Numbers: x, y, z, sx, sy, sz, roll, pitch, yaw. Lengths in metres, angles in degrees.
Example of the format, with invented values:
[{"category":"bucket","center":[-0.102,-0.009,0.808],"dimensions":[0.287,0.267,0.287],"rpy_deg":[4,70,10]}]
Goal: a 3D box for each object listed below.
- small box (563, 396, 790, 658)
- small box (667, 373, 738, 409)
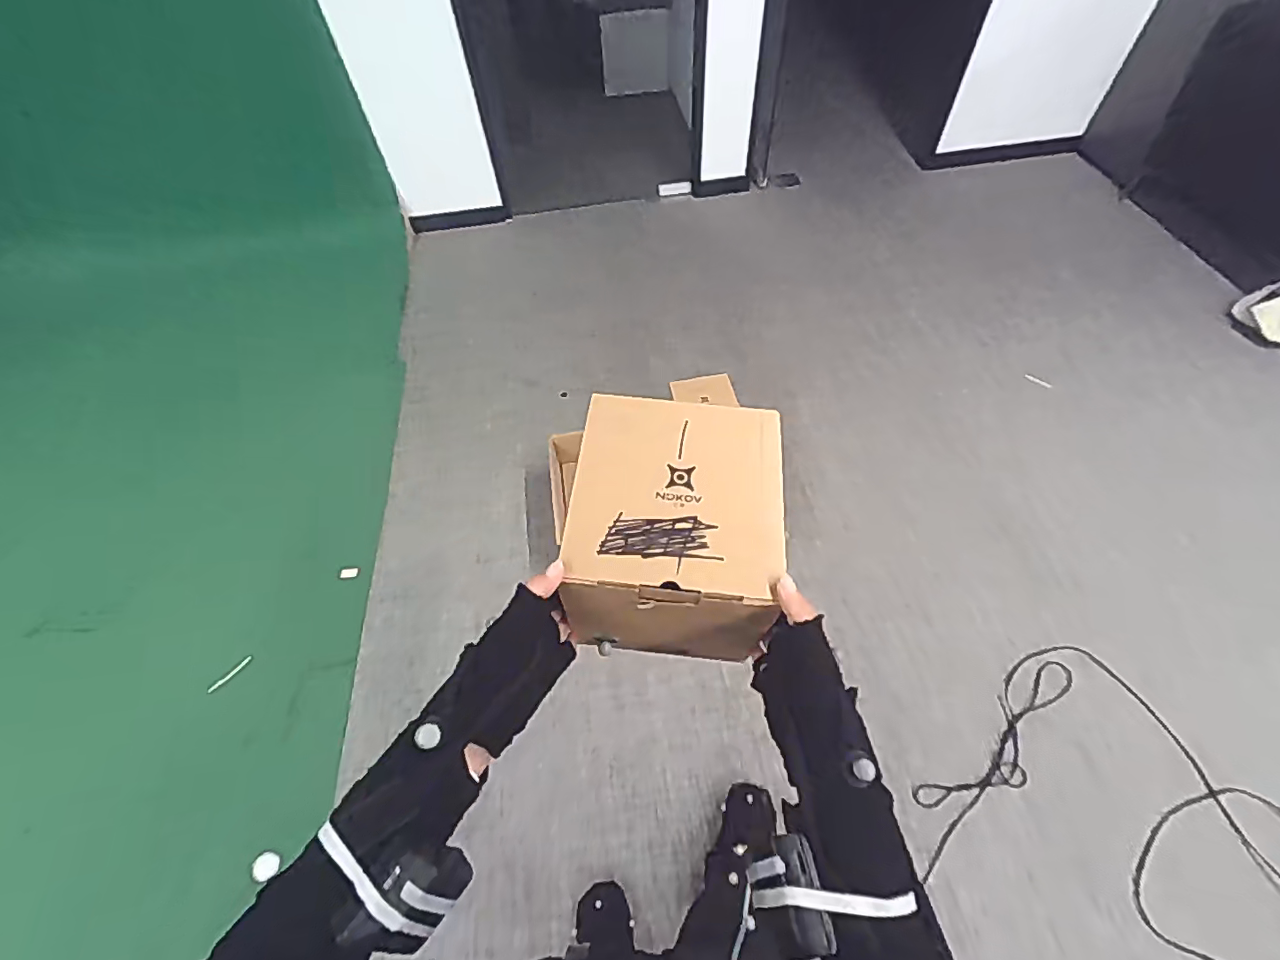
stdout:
[{"category":"small box","center":[0.034,0.050,0.492],"dimensions":[0.168,0.176,0.179],"rpy_deg":[6,57,2]},{"category":"small box","center":[0.172,-0.164,1.486],"dimensions":[0.168,0.176,0.179],"rpy_deg":[-9,55,-3]}]
